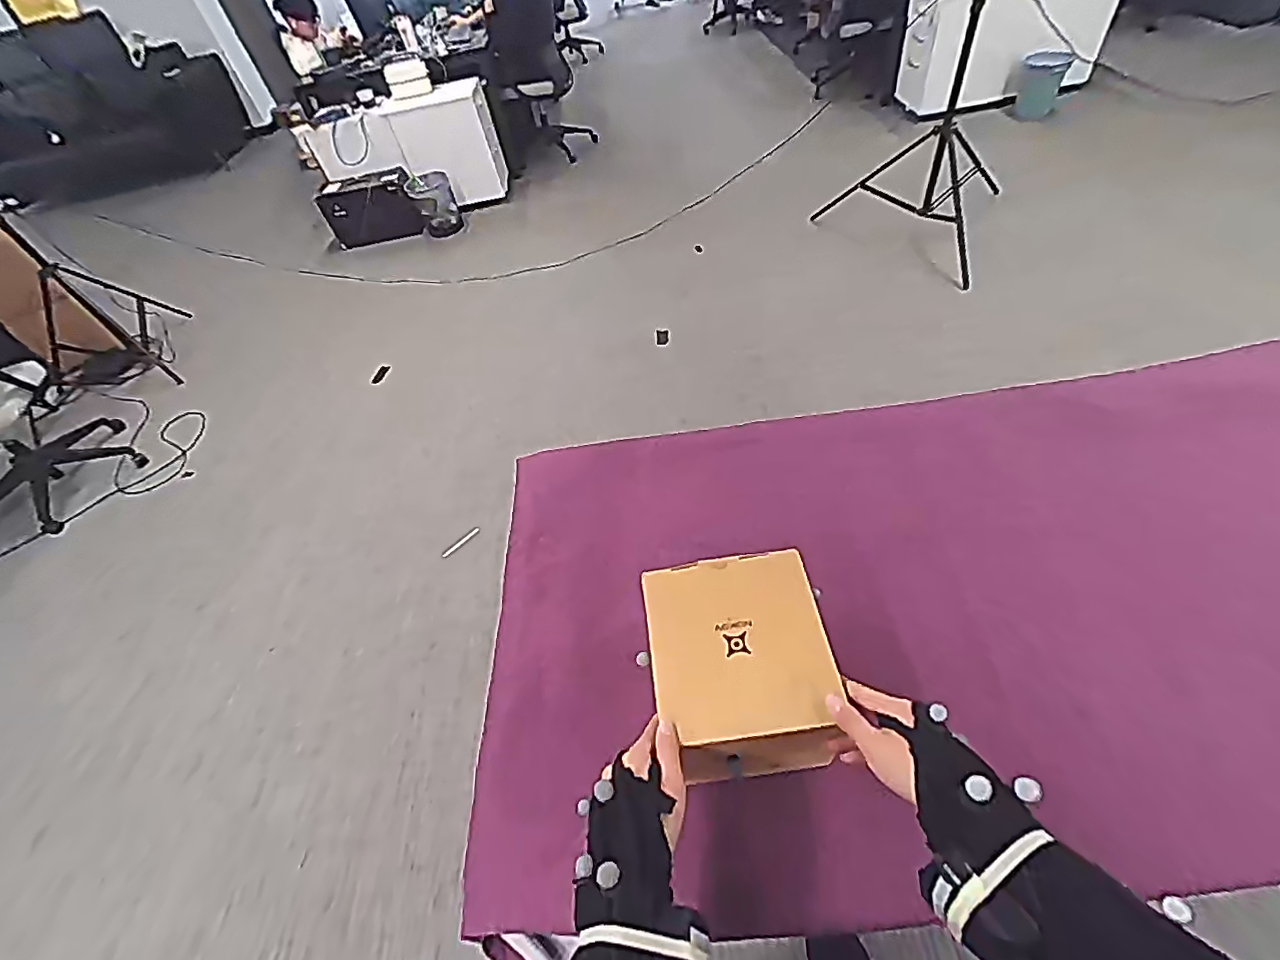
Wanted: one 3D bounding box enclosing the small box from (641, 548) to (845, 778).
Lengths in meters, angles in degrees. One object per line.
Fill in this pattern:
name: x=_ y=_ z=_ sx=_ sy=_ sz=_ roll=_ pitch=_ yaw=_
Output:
small box: x=0.101 y=0.200 z=0.571 sx=0.168 sy=0.176 sz=0.179 roll=-10 pitch=49 yaw=3
